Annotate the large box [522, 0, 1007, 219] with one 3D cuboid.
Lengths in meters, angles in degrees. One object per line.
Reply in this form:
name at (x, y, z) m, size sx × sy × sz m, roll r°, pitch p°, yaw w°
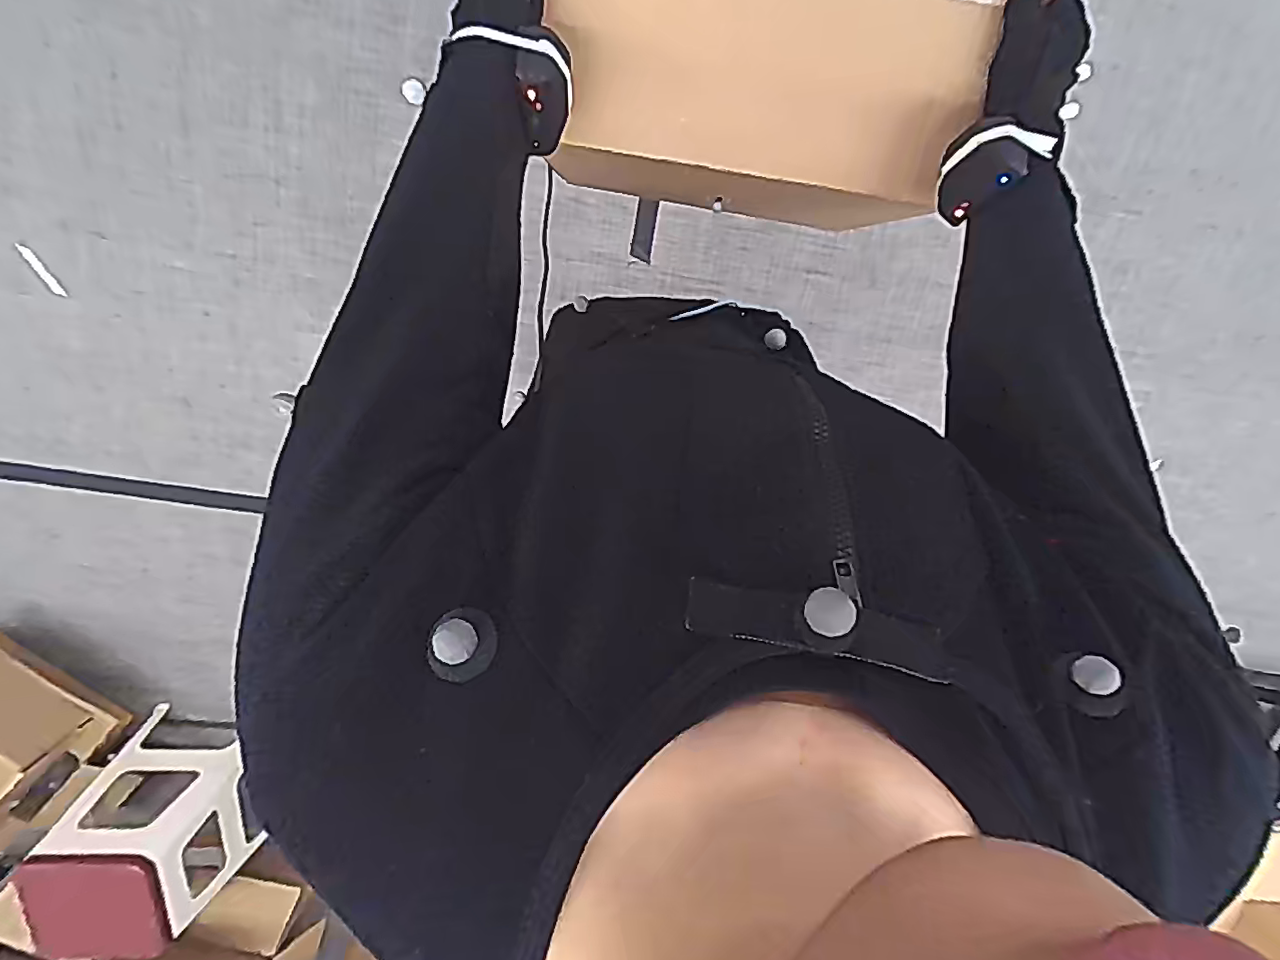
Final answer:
large box at (0.116, -0.485, 0.578) m, size 0.408 × 0.320 × 0.320 m, roll 9°, pitch 110°, yaw -2°
